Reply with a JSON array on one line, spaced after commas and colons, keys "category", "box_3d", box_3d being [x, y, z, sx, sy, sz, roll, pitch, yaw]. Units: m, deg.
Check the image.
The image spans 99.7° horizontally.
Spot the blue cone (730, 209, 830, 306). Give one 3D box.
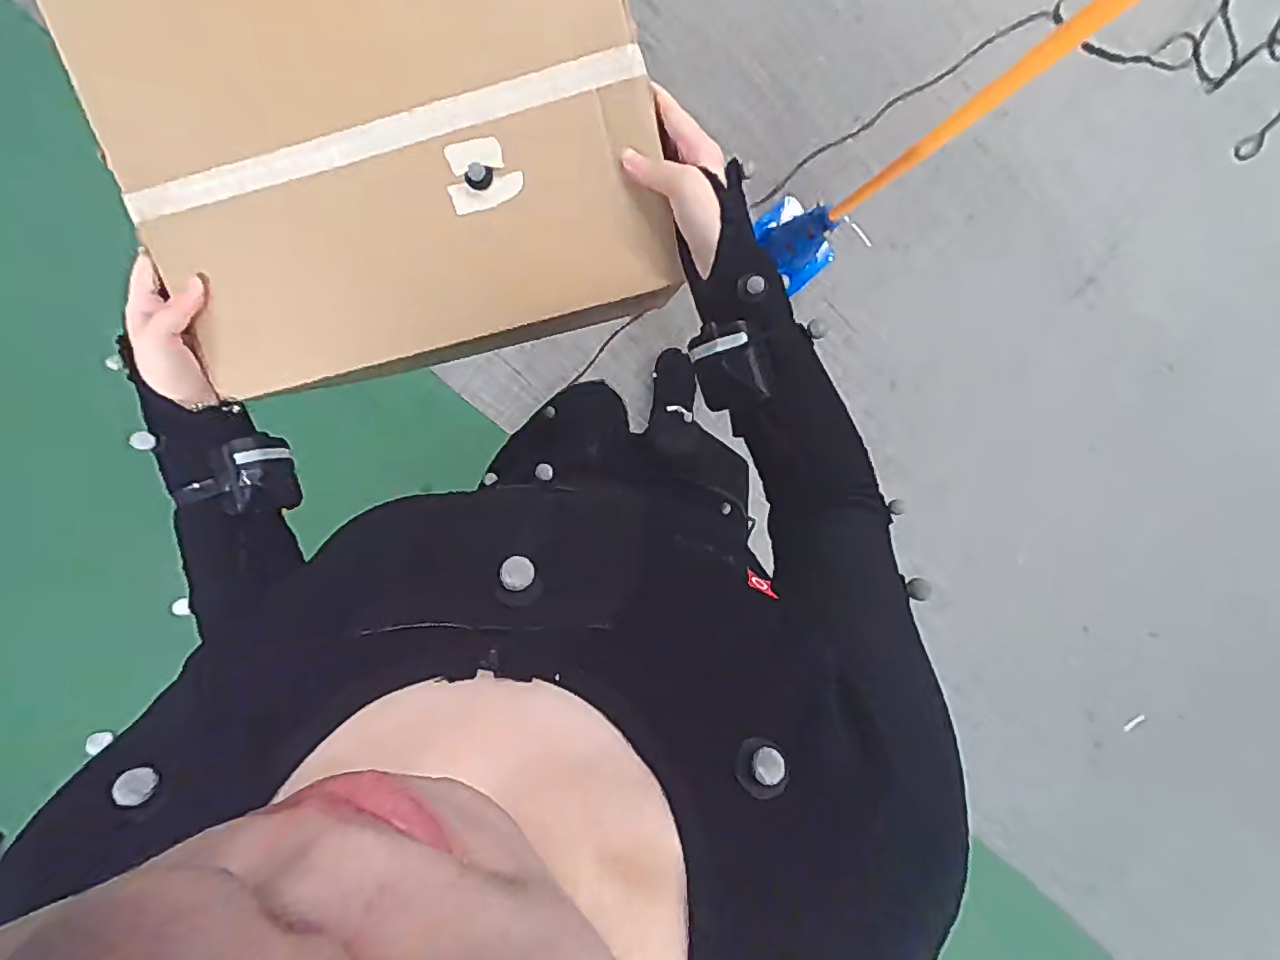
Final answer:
[{"category": "blue cone", "box_3d": [0.353, -0.532, 1.217, 0.192, 0.380, 0.193, -38, 100, 8]}]

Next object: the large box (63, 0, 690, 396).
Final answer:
[{"category": "large box", "box_3d": [-0.193, -0.300, 0.559, 0.408, 0.320, 0.320, -15, 105, 2]}]
